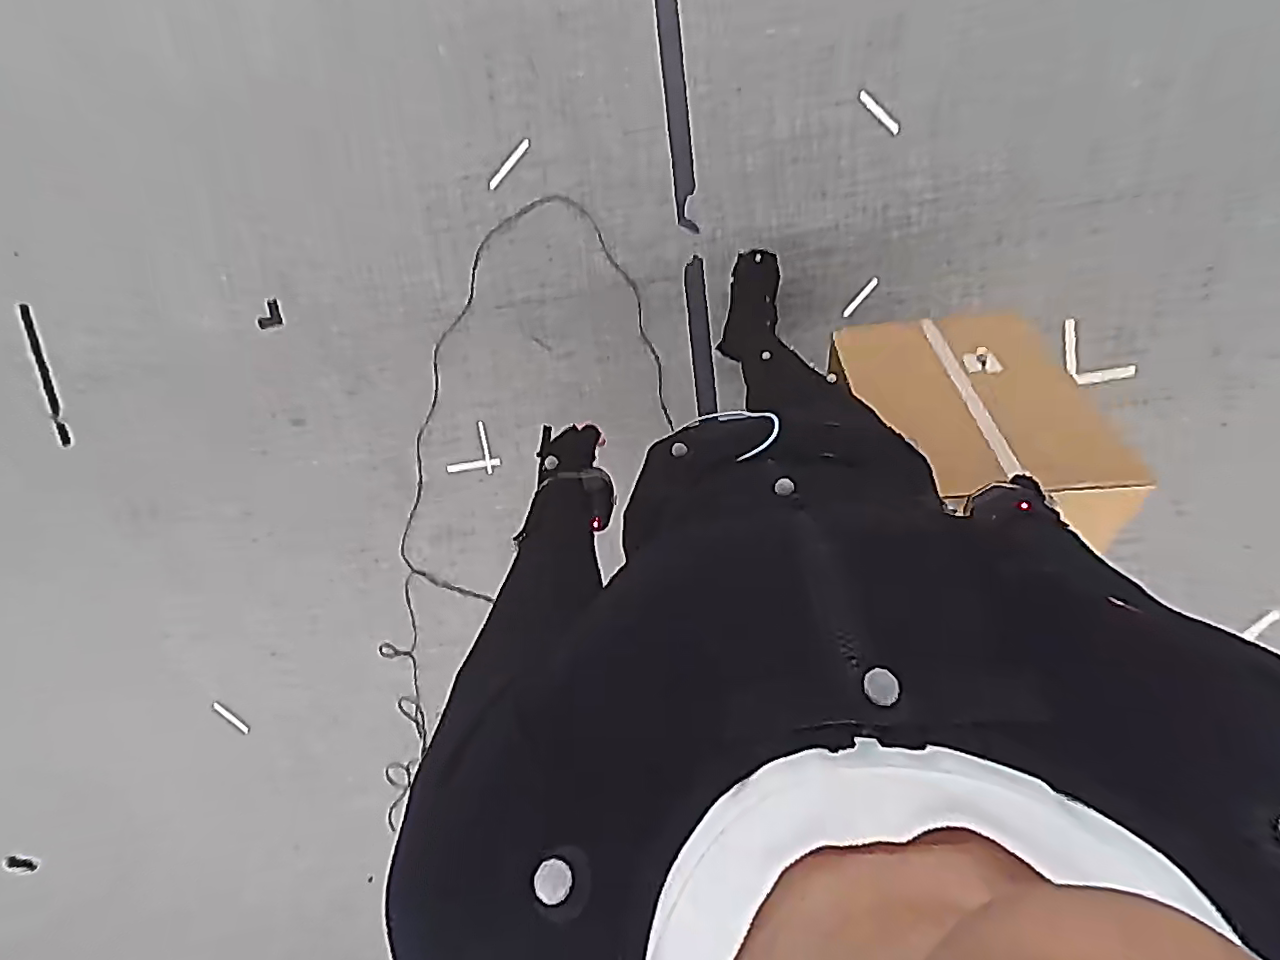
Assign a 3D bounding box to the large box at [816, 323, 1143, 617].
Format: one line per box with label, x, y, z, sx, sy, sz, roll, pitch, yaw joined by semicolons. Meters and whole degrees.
large box;0.511;-0.022;0.939;0.320;0.408;0.320;-4;134;6
